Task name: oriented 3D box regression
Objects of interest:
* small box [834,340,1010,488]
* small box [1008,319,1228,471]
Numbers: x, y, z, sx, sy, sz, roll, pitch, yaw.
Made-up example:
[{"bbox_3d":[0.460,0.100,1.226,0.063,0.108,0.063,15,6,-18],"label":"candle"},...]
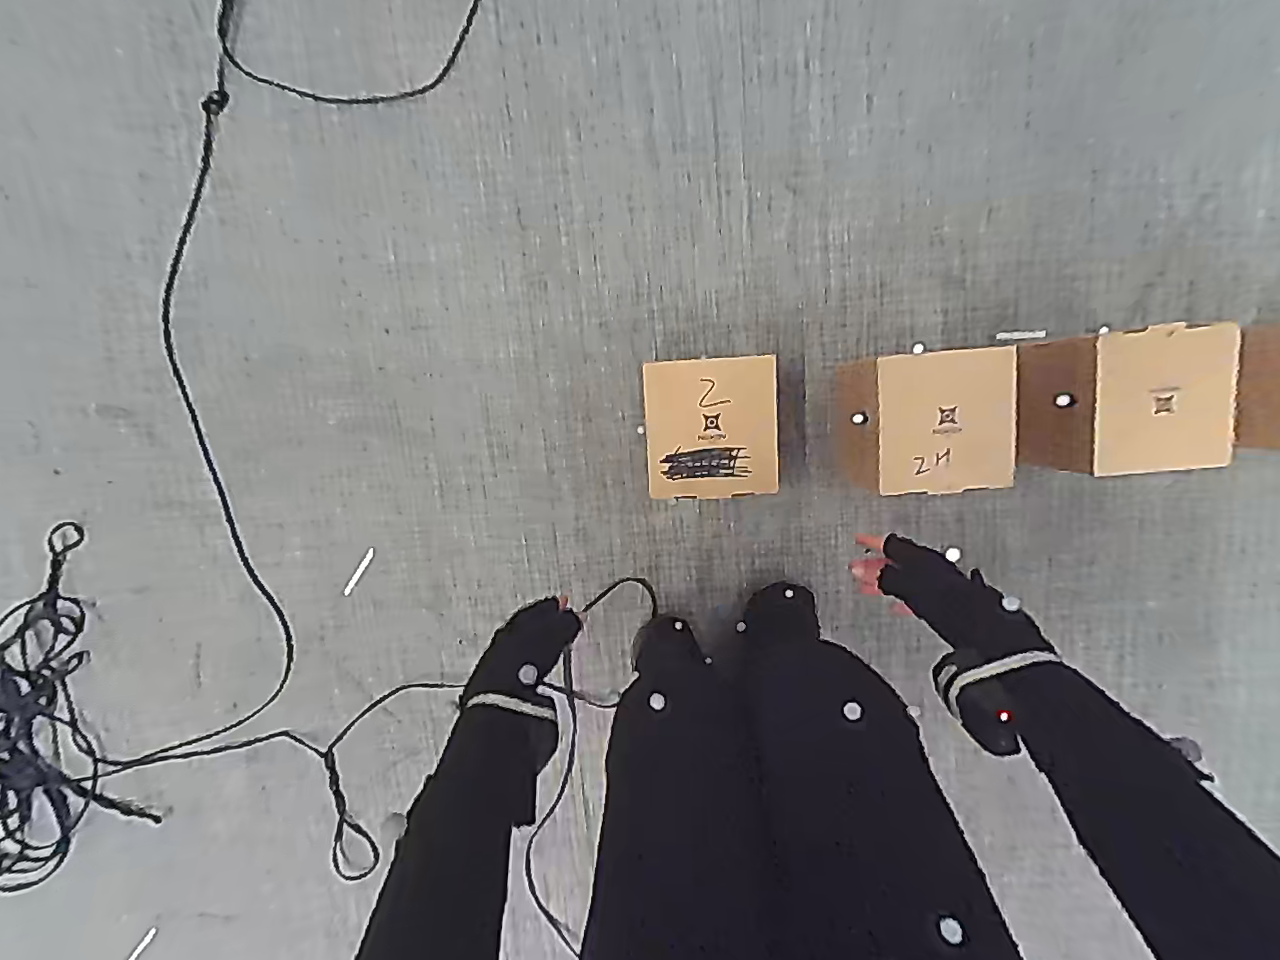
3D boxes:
[{"bbox_3d":[0.376,-0.090,0.749,0.168,0.176,0.179,-4,98,4],"label":"small box"},{"bbox_3d":[0.630,-0.114,0.741,0.168,0.176,0.179,-5,97,3],"label":"small box"}]
